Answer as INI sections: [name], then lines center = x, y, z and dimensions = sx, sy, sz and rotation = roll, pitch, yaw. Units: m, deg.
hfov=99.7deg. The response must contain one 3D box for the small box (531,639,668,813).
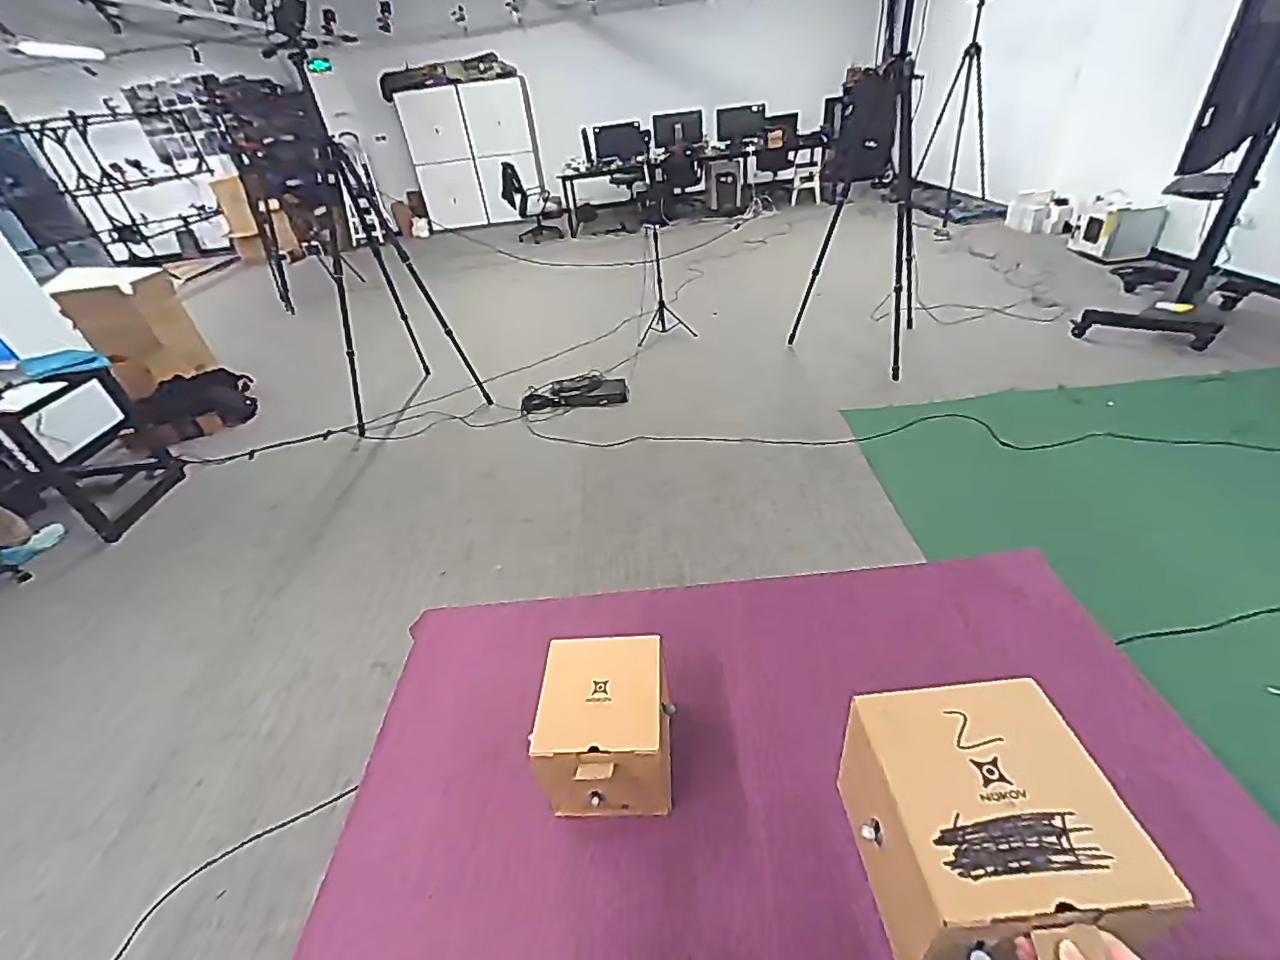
[small box]
center = -0.048, 0.358, 0.794
dimensions = 0.168, 0.176, 0.179
rotation = -4, 36, 5
